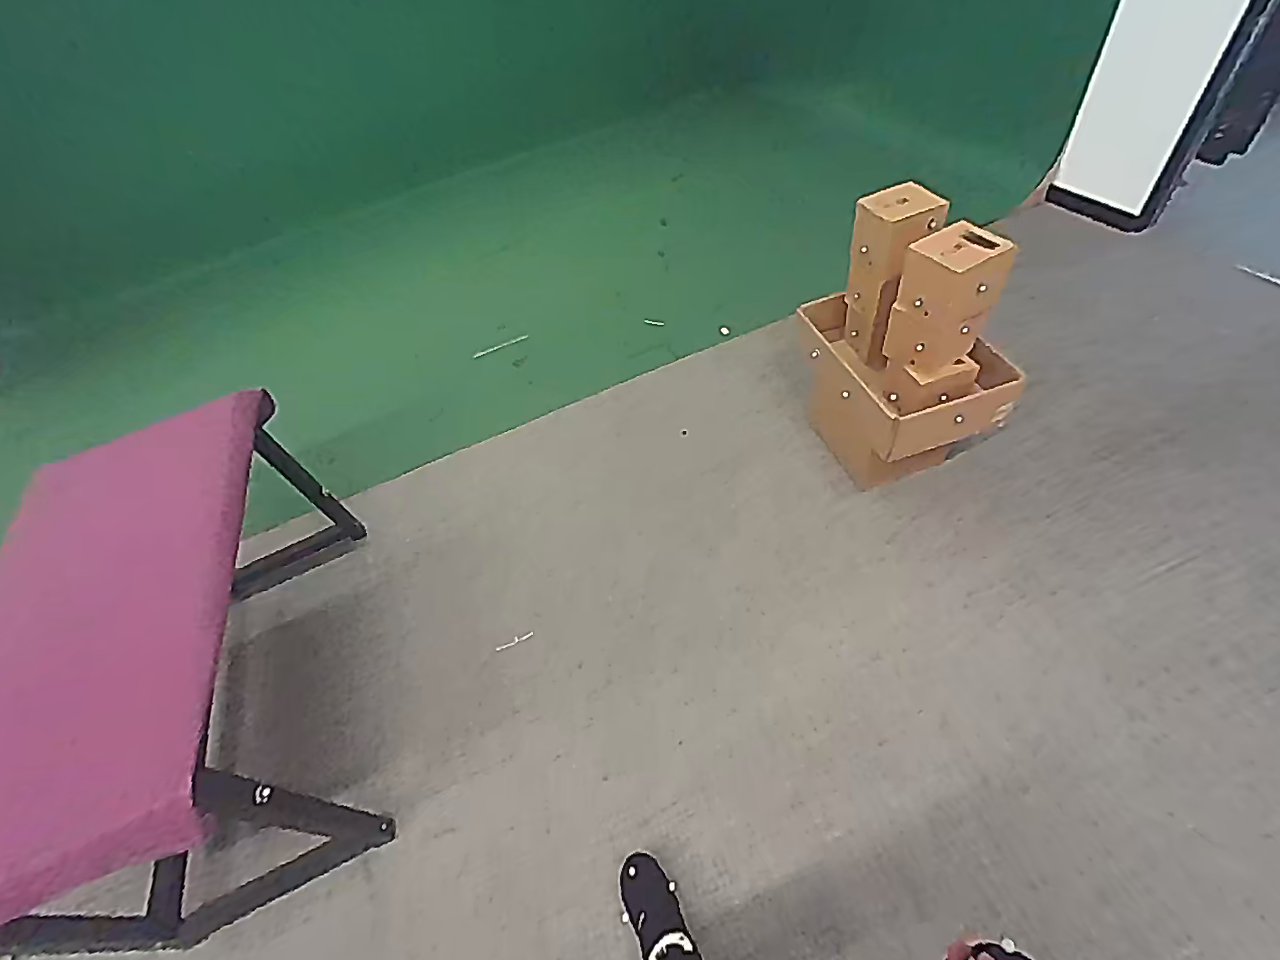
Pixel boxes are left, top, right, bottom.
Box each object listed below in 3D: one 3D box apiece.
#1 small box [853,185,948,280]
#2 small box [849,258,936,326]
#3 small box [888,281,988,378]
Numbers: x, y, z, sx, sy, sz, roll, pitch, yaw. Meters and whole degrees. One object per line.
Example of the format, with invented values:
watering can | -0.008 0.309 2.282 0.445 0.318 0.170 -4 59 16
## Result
small box | 0.736 -0.708 1.552 0.179 0.176 0.168 -20 49 -3
small box | 0.773 -0.610 1.679 0.179 0.176 0.168 -21 49 -3
small box | 0.816 -0.415 1.504 0.179 0.176 0.168 -31 51 -14
